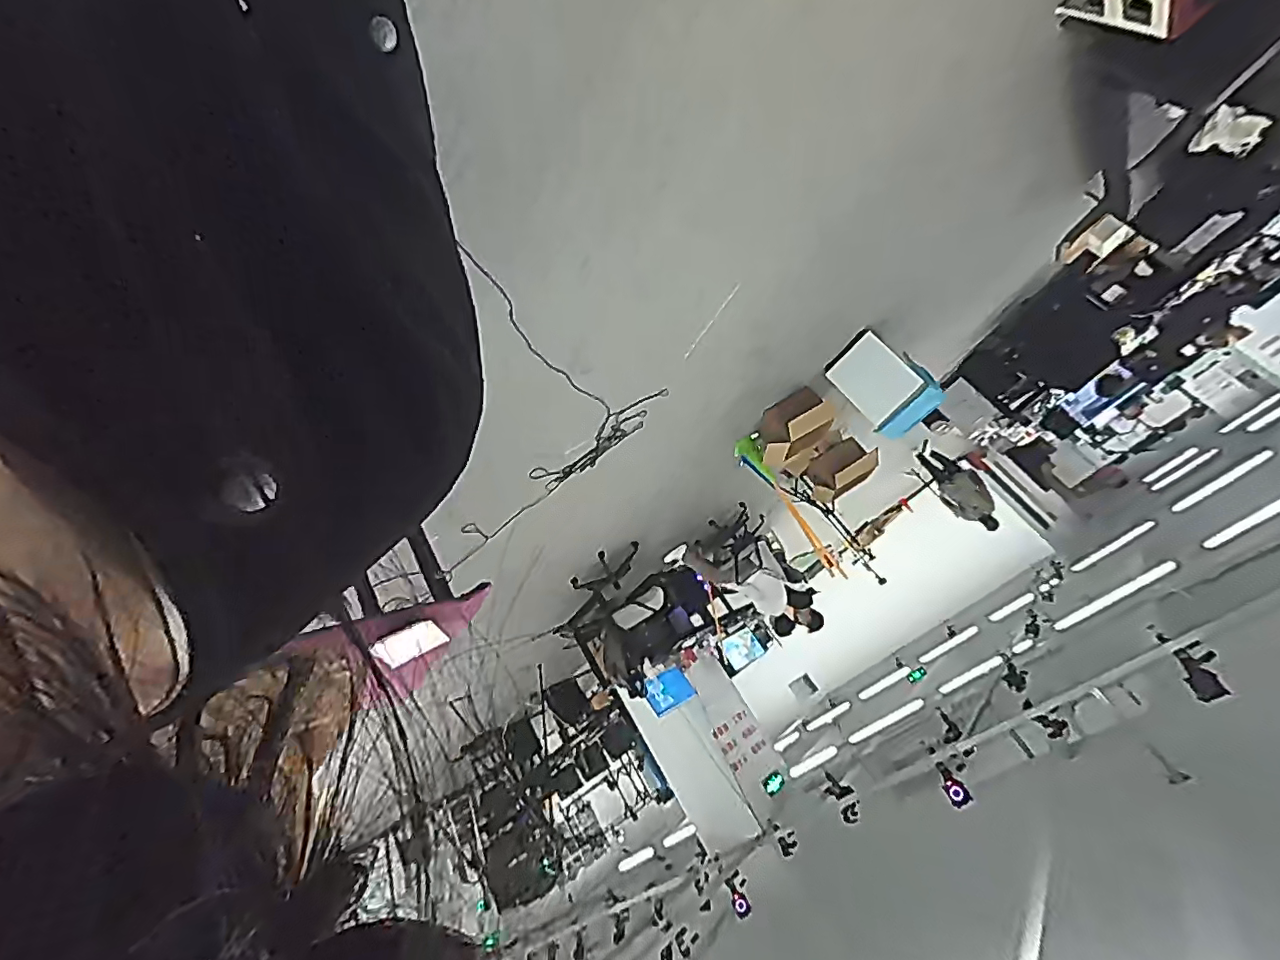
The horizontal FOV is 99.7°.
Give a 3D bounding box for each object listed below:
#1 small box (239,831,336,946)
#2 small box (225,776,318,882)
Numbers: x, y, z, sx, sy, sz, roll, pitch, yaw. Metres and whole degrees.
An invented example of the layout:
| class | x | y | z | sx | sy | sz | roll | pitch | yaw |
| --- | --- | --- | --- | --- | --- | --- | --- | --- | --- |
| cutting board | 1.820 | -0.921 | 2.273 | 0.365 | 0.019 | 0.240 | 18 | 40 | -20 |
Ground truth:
| class | x | y | z | sx | sy | sz | roll | pitch | yaw |
| --- | --- | --- | --- | --- | --- | --- | --- | --- | --- |
| small box | -0.977 | 1.120 | 1.493 | 0.179 | 0.176 | 0.168 | -2 | 140 | -50 |
| small box | -1.065 | 0.996 | 1.555 | 0.179 | 0.176 | 0.168 | -6 | 142 | -49 |
